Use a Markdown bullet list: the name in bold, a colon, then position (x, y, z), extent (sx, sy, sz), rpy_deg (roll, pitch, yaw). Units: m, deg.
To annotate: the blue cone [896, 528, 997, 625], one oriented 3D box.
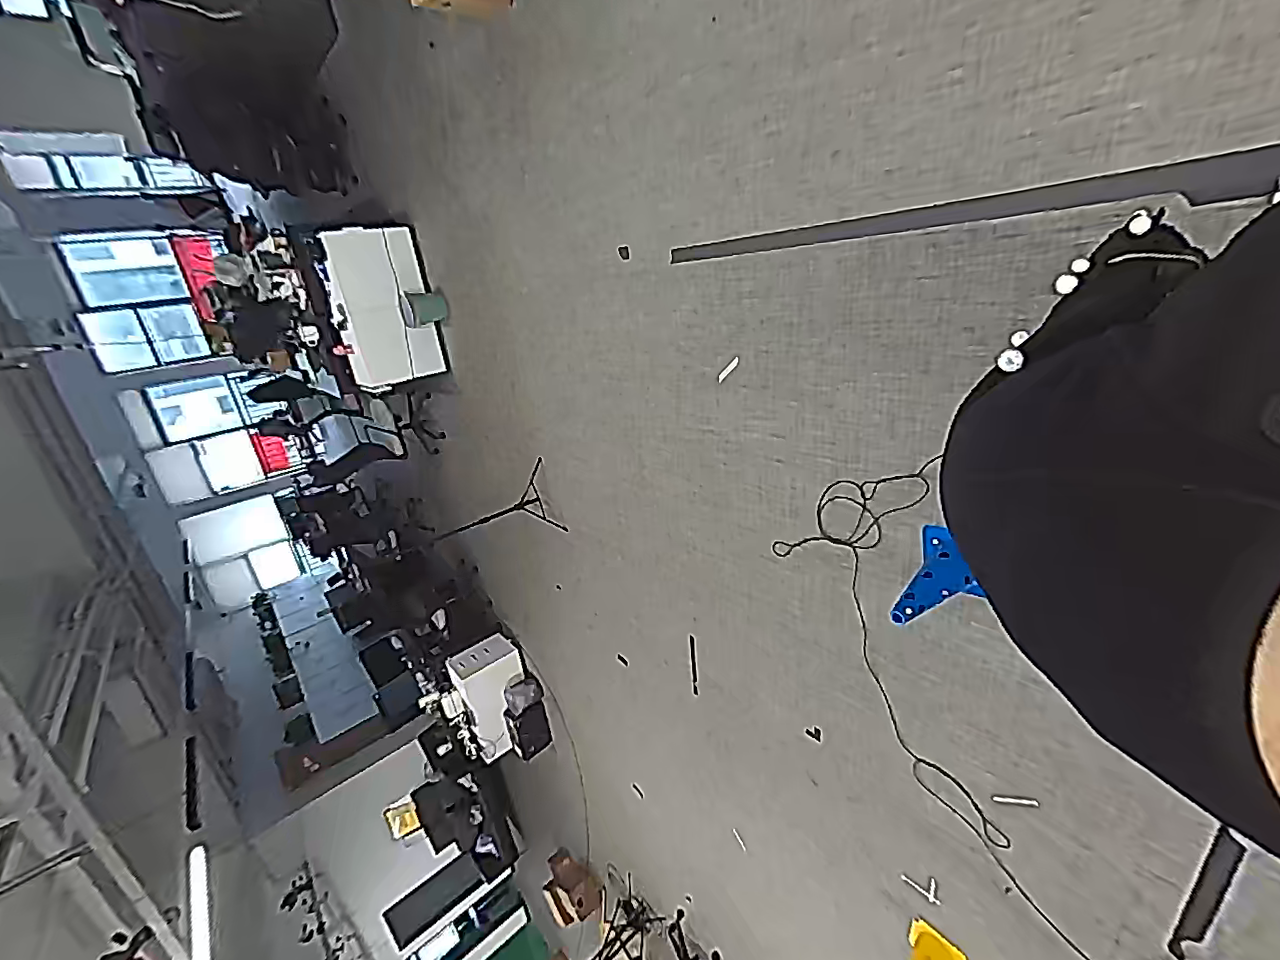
- **blue cone**: position (0.788, 0.285, 1.455), extent (0.192, 0.380, 0.193), rpy_deg (12, 118, 50)
